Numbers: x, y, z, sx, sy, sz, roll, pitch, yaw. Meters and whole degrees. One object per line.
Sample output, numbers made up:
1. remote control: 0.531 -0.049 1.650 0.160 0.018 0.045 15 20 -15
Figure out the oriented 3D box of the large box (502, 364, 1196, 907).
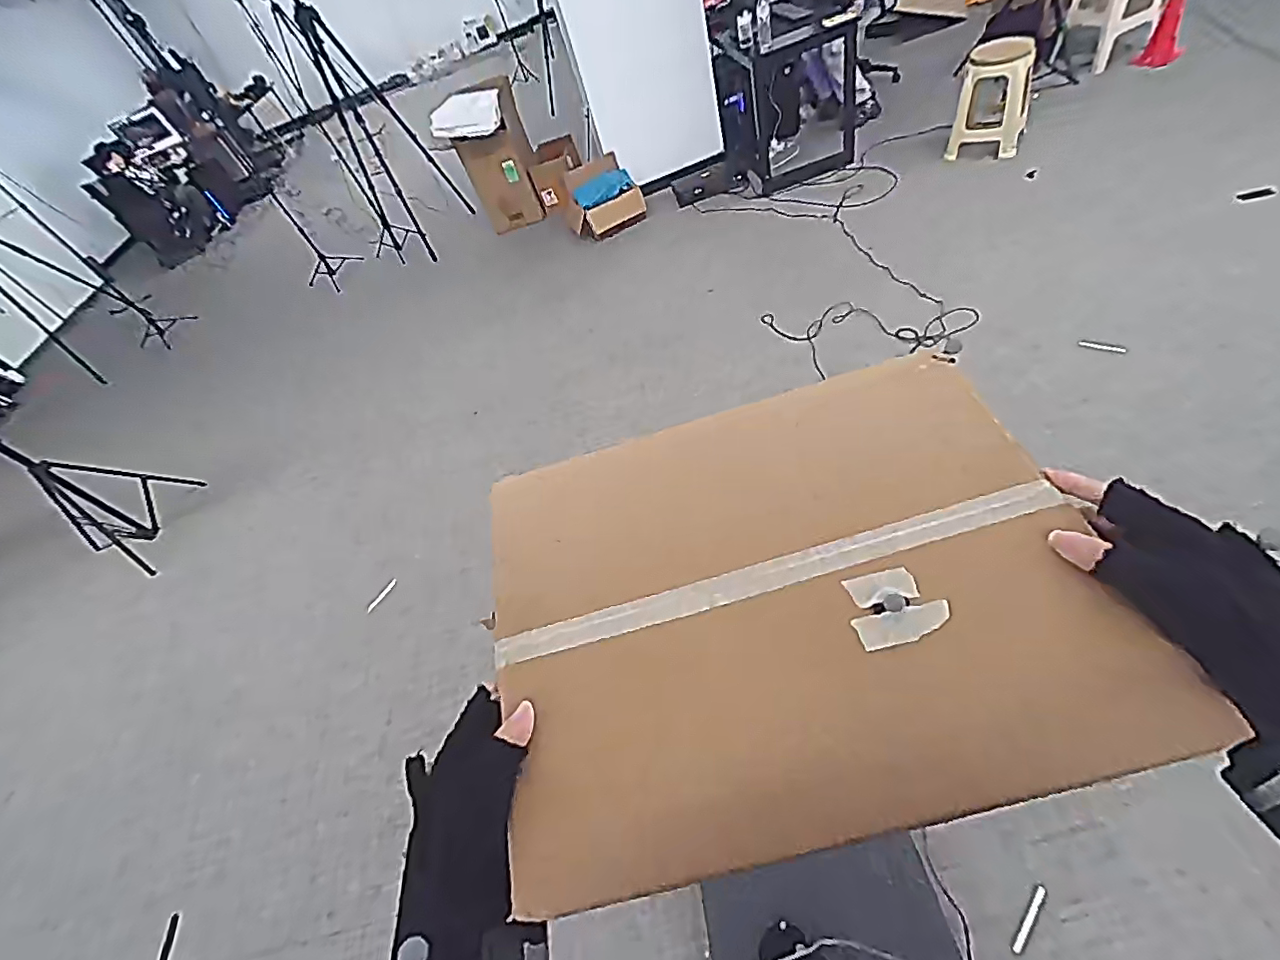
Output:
1. large box: 0.124 0.157 0.517 0.408 0.320 0.320 -17 55 3
